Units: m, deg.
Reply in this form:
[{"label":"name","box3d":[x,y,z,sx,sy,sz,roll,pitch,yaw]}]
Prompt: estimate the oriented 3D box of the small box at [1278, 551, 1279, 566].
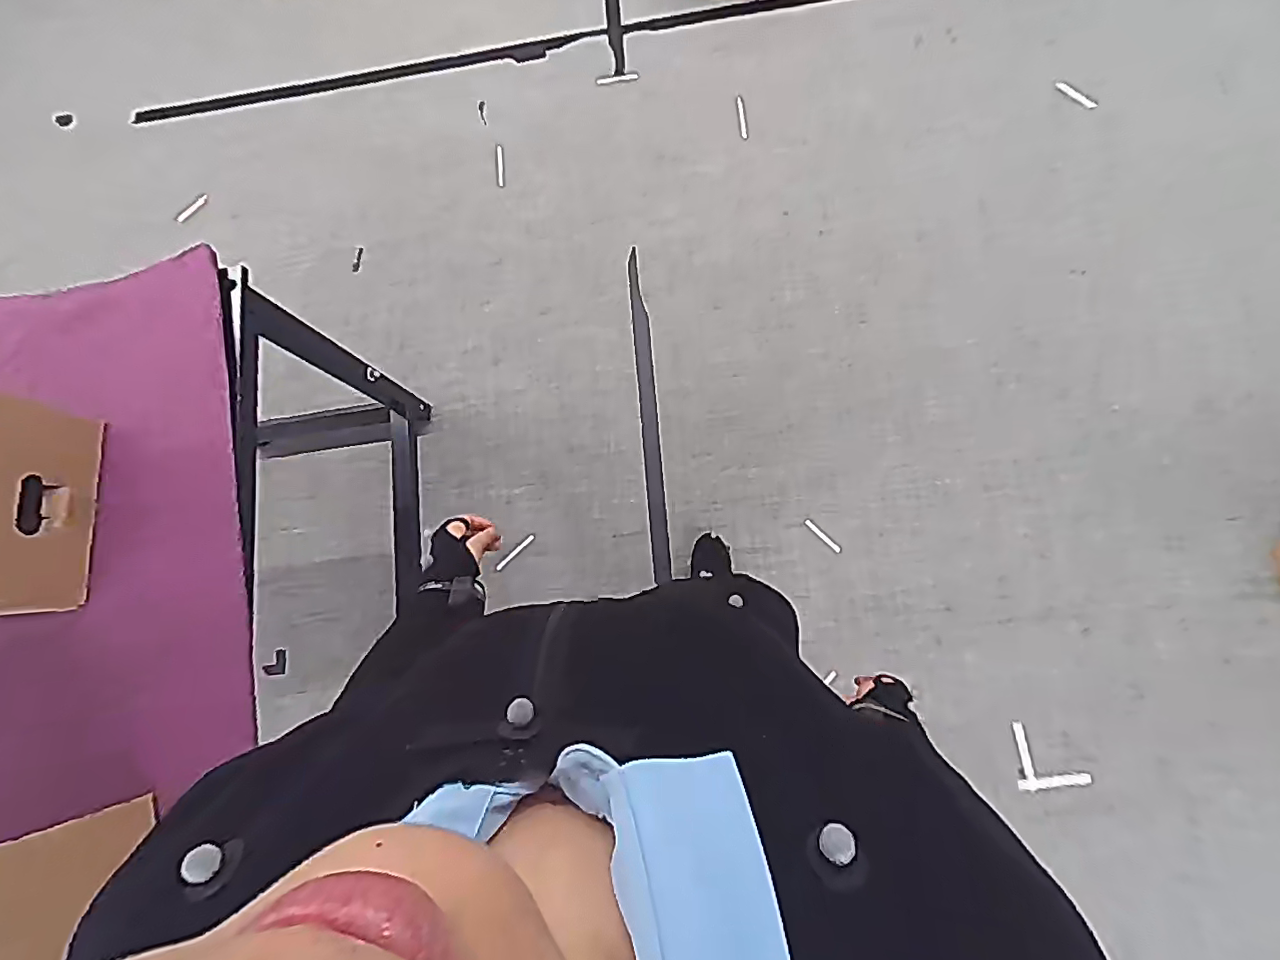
[{"label":"small box","box3d":[1.694,0.225,1.281,0.179,0.176,0.168,-8,79,3]}]
